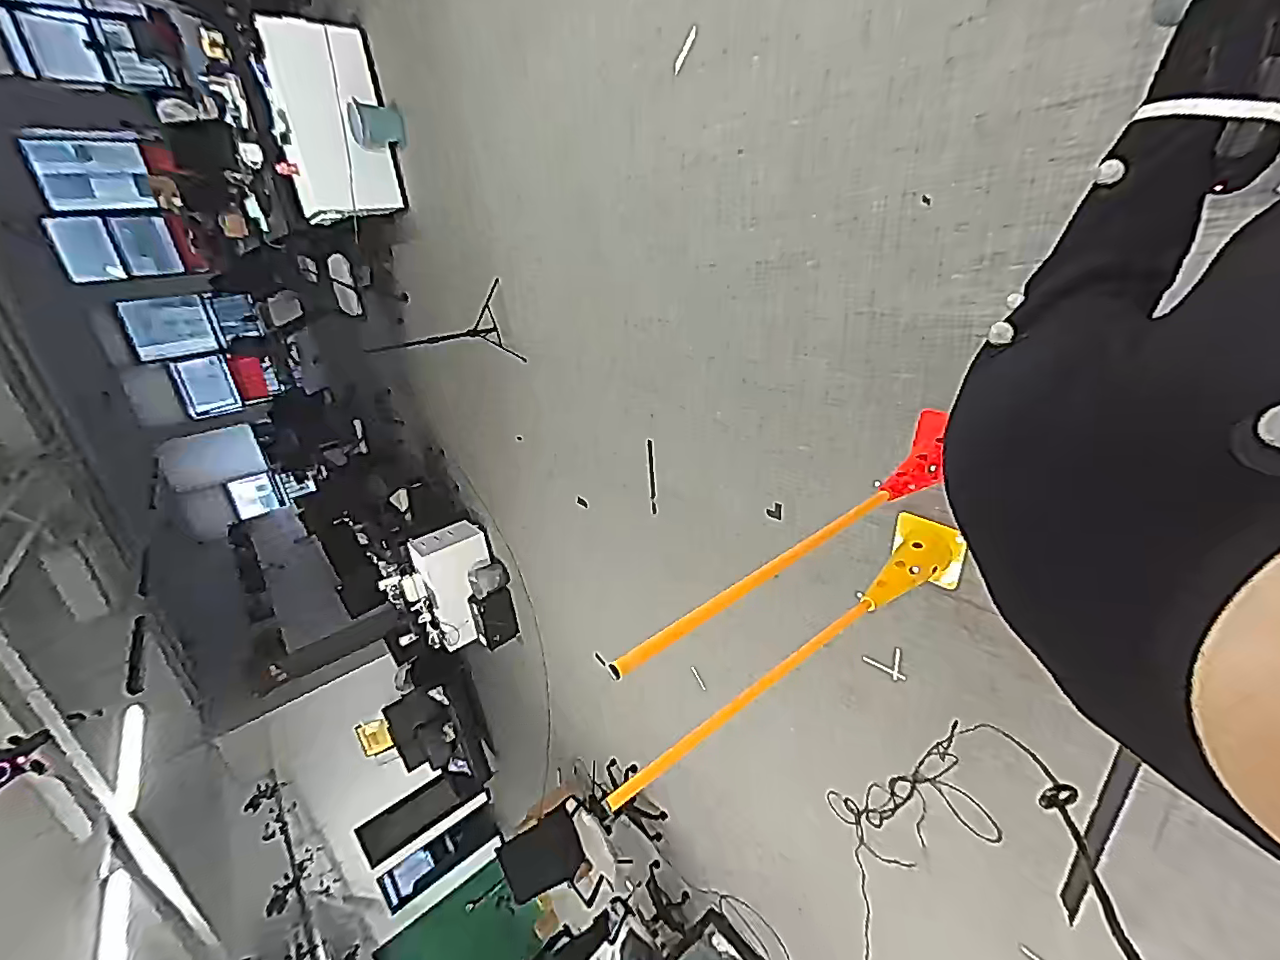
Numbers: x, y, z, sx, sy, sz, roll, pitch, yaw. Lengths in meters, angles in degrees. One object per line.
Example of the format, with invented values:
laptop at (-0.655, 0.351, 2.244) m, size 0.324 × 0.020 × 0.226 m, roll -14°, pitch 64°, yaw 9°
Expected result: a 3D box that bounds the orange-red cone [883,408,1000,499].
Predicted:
orange-red cone at (0.722, -0.030, 1.374) m, size 0.198 × 0.360 × 0.199 m, roll 29°, pitch 130°, yaw 41°
